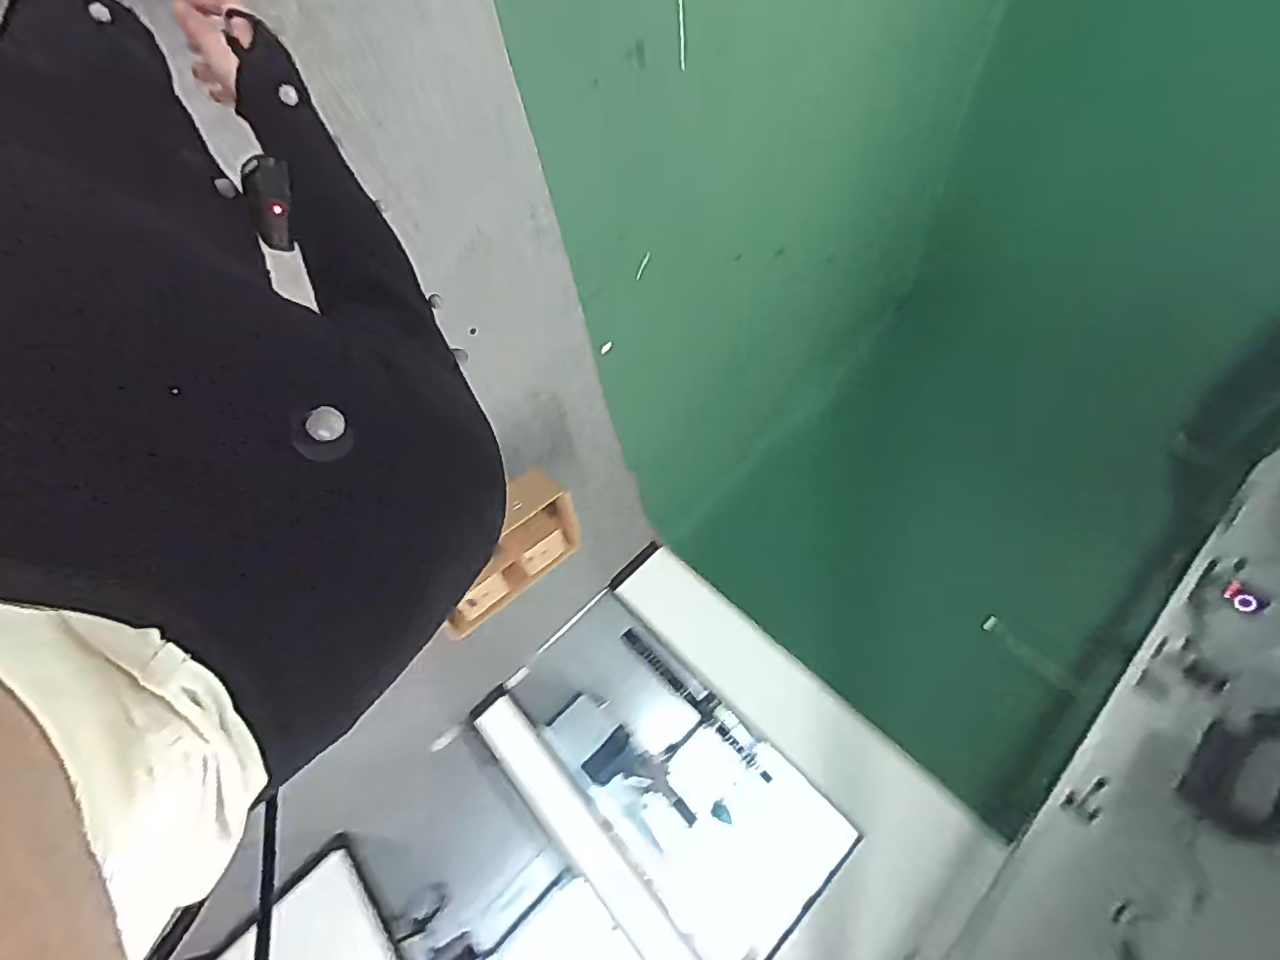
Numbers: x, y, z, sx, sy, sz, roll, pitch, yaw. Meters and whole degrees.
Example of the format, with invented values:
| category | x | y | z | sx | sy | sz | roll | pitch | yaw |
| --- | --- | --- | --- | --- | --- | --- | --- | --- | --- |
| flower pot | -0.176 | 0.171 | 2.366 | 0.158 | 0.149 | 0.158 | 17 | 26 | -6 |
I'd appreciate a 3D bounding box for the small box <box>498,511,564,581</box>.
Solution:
| category | x | y | z | sx | sy | sz | roll | pitch | yaw |
| --- | --- | --- | --- | --- | --- | --- | --- | --- | --- |
| small box | -0.425 | 0.253 | 2.106 | 0.179 | 0.176 | 0.168 | -38 | 149 | -25 |
